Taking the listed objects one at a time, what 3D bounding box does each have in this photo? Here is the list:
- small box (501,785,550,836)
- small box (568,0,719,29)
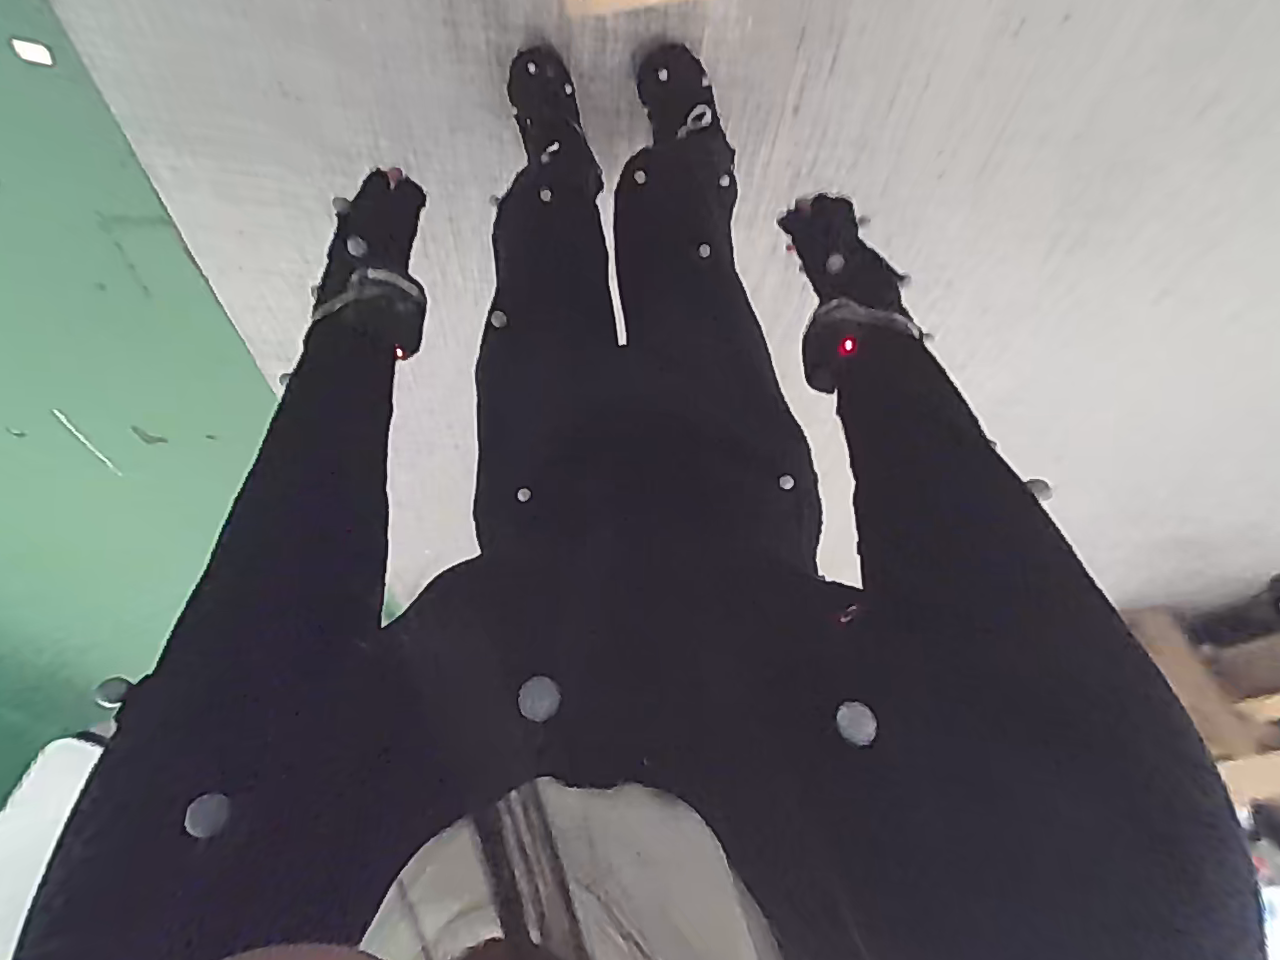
[{"bbox_3d":[-0.490,1.425,2.330,0.179,0.176,0.168,3,143,-4],"label":"small box"},{"bbox_3d":[-0.003,-0.635,0.591,0.179,0.176,0.168,-5,143,8],"label":"small box"}]
